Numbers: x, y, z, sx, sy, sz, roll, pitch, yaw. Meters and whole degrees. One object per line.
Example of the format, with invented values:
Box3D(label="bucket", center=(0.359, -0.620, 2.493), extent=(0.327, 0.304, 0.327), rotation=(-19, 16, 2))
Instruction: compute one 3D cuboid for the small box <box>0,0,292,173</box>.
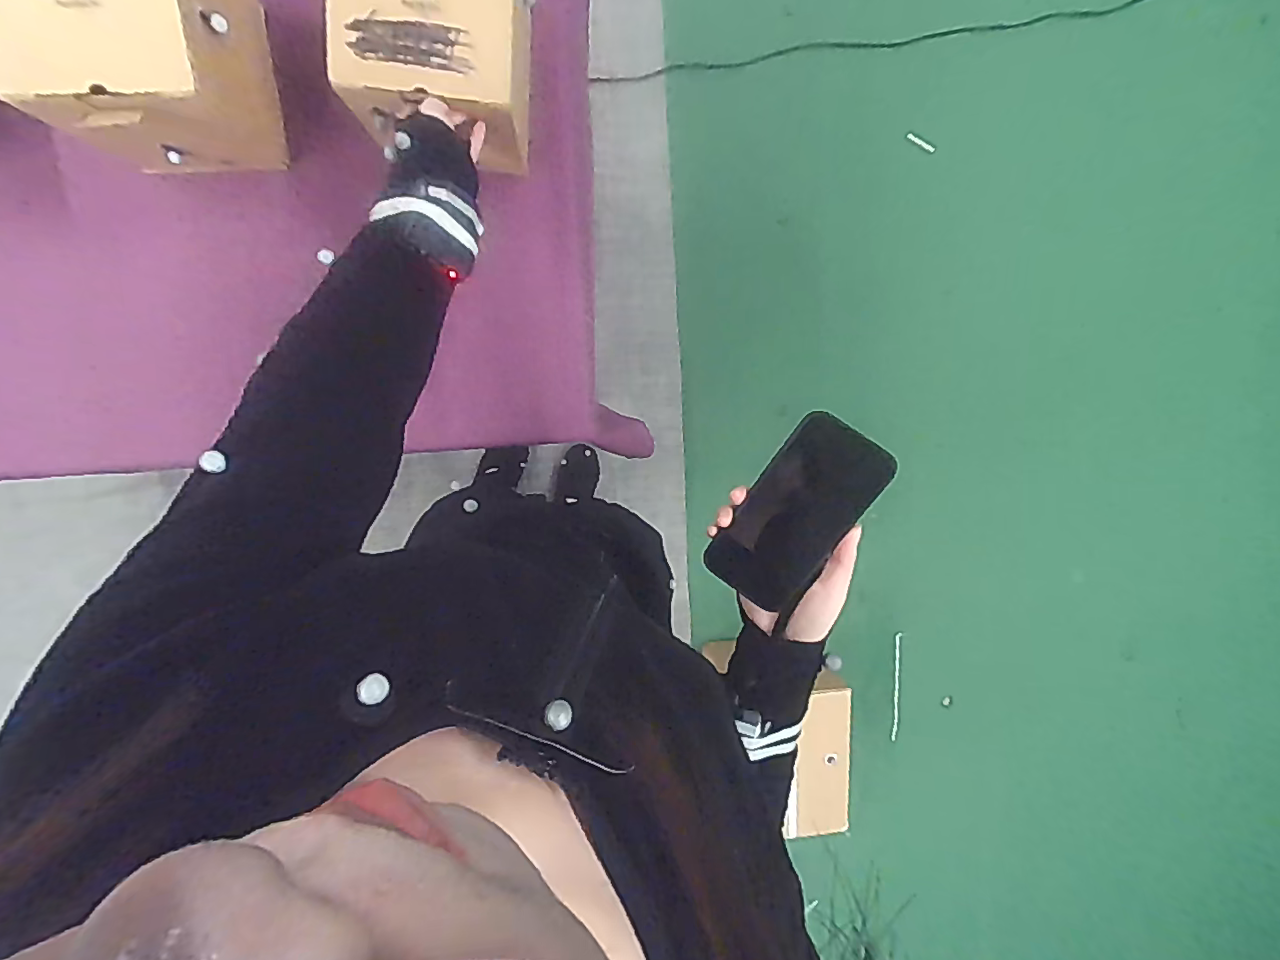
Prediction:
Box3D(label="small box", center=(-0.491, -0.439, 0.548), extent=(0.168, 0.176, 0.179), rotation=(-6, 101, -6))
